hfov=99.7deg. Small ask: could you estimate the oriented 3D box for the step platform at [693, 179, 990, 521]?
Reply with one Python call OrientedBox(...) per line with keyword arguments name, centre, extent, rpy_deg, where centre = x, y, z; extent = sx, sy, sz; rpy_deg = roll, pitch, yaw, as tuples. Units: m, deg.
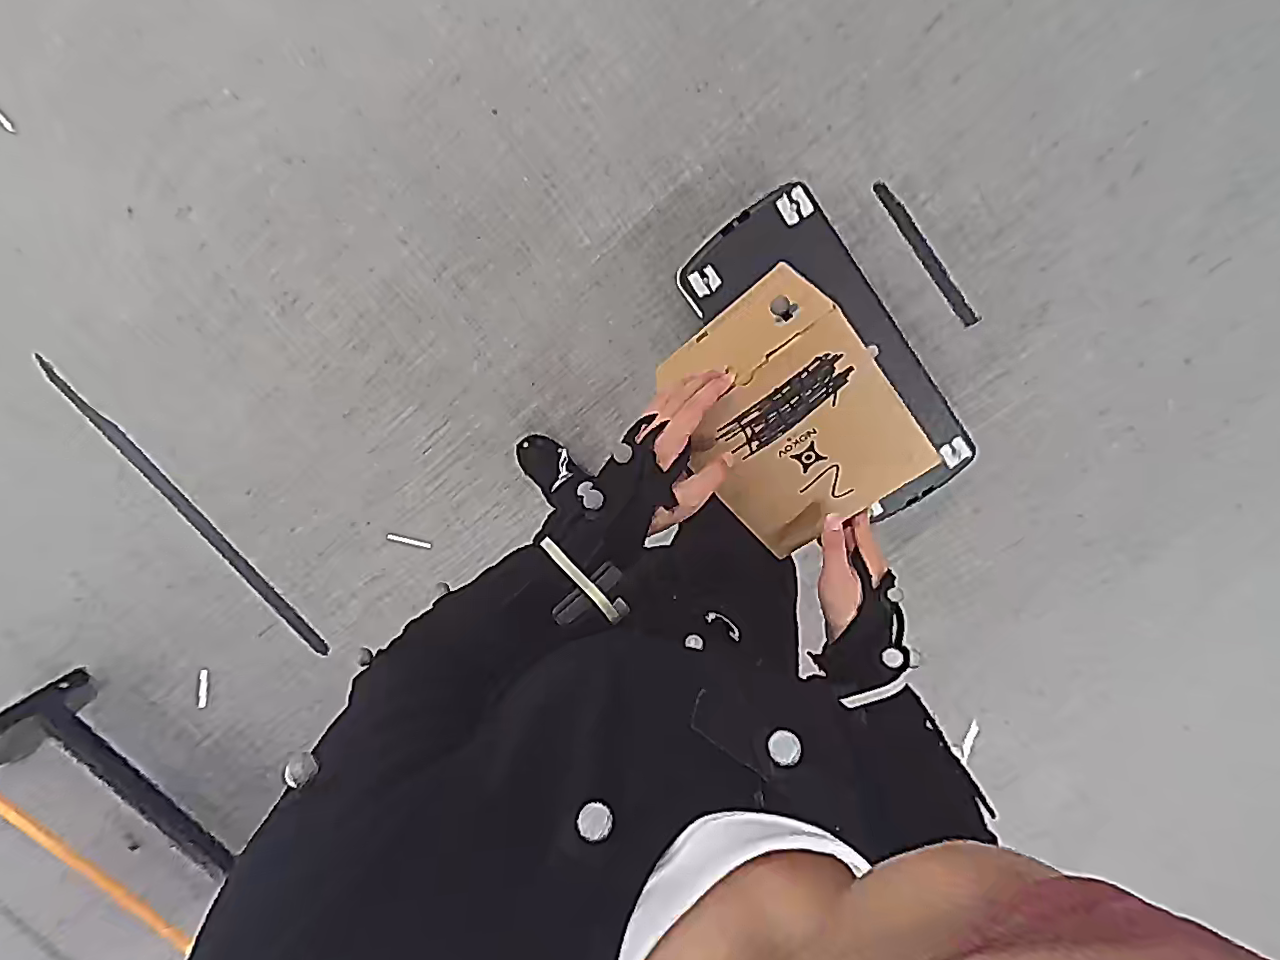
OrientedBox(name="step platform", centre=(0.406, -0.247, 1.119), extent=(0.286, 0.204, 0.684), rpy_deg=(-36, 99, 13))
